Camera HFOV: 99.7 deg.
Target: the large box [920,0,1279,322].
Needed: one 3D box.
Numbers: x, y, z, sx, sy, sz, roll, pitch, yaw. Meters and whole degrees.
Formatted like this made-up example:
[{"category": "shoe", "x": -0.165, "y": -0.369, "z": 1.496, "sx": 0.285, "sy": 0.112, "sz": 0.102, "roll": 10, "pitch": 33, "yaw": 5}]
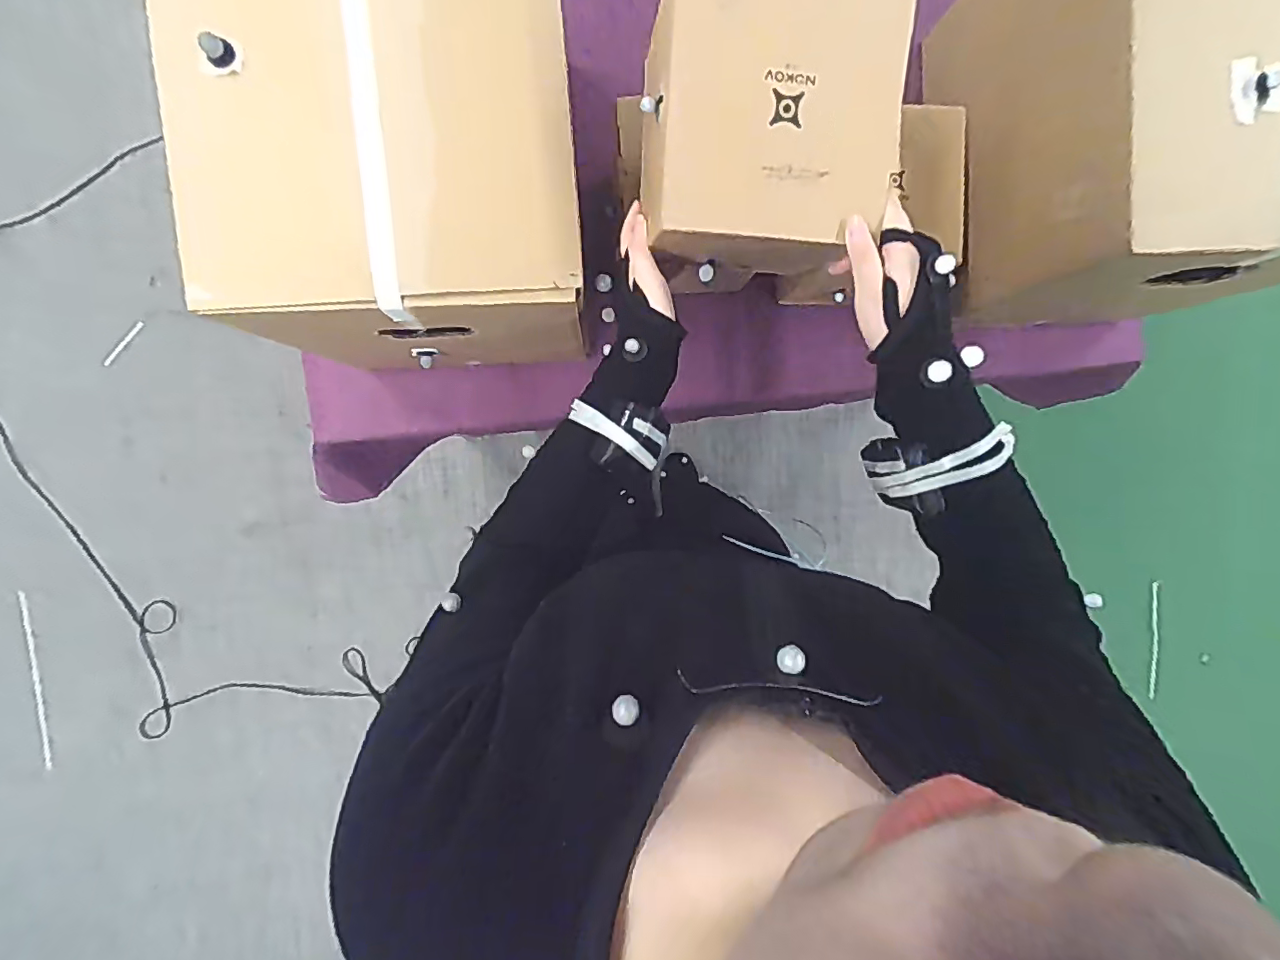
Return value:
[{"category": "large box", "x": 0.569, "y": -0.425, "z": 0.645, "sx": 0.320, "sy": 0.320, "sz": 0.408, "roll": -3, "pitch": 95, "yaw": -5}]
